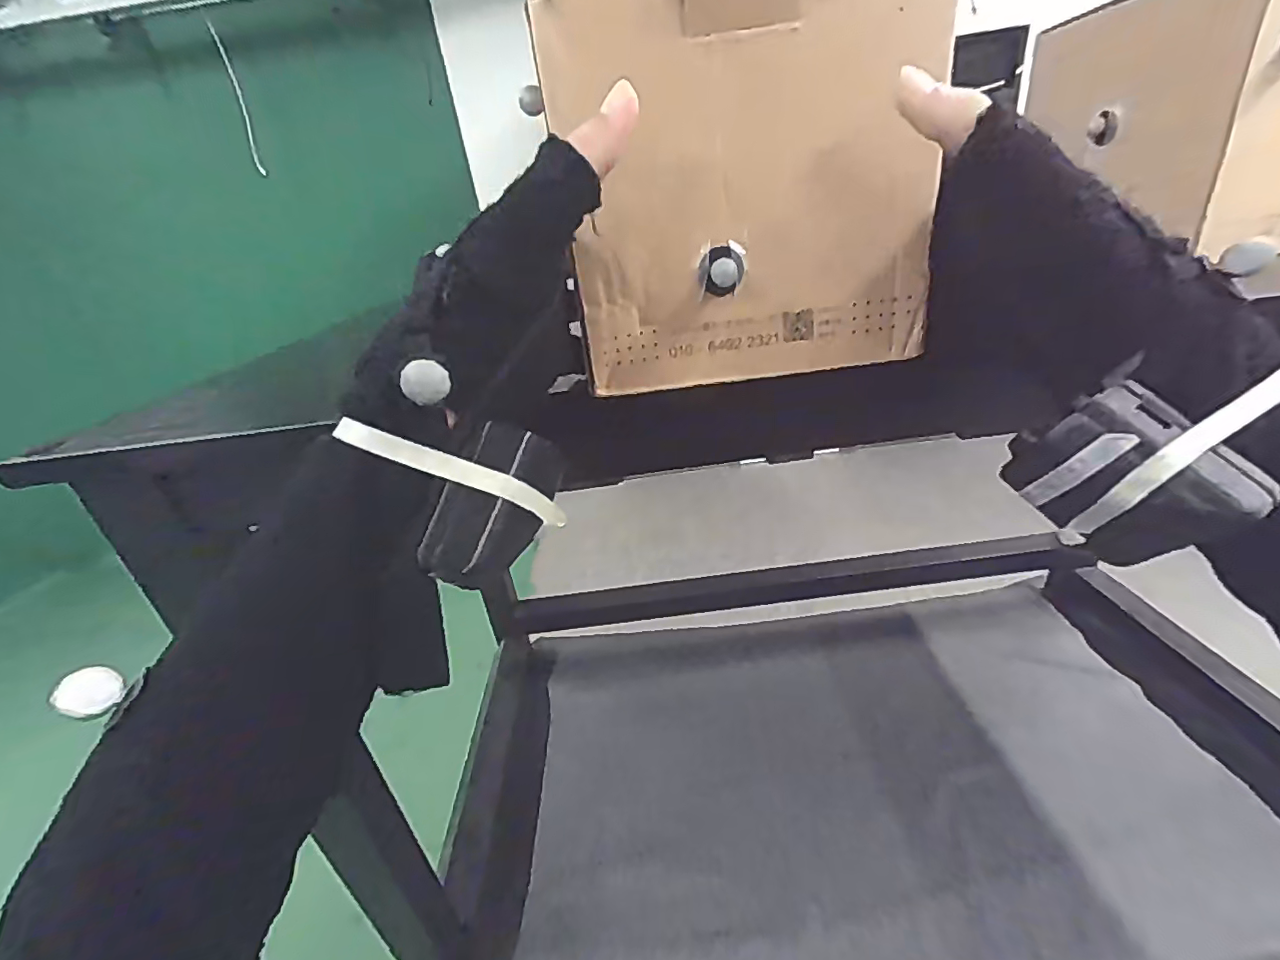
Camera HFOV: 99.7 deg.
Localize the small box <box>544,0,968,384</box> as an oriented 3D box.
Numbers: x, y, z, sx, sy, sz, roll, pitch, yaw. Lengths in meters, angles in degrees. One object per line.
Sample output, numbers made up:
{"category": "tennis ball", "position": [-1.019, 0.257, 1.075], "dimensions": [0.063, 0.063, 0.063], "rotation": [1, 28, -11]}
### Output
{"category": "small box", "position": [0.050, -0.163, 0.312], "dimensions": [0.168, 0.176, 0.179], "rotation": [-7, 27, 2]}
